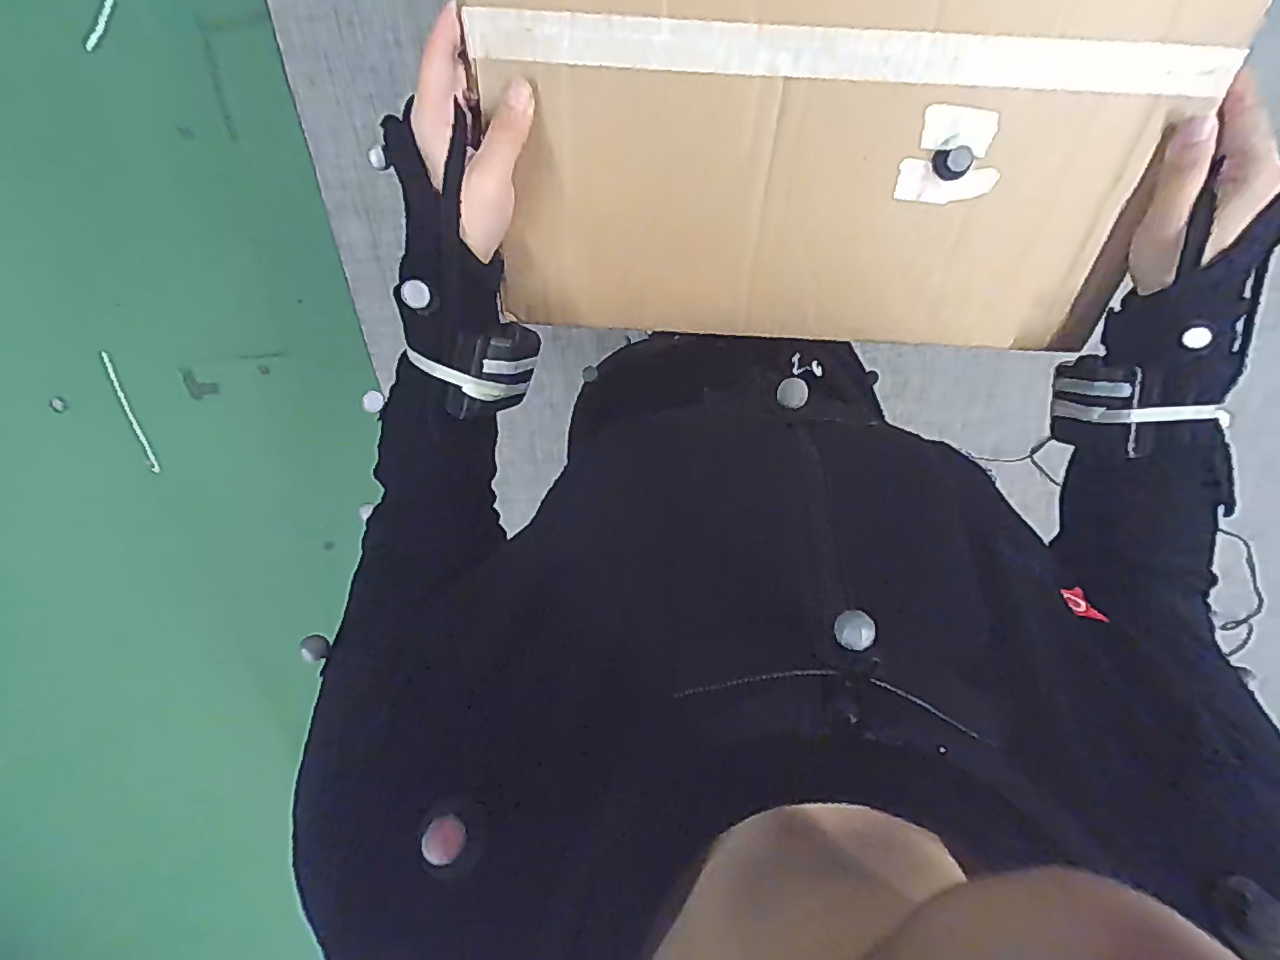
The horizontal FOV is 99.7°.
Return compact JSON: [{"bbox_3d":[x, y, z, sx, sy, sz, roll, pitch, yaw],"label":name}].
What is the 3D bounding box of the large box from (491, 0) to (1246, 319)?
[{"bbox_3d":[0.115,-0.328,0.413,0.408,0.320,0.320,2,127,-2],"label":"large box"}]
